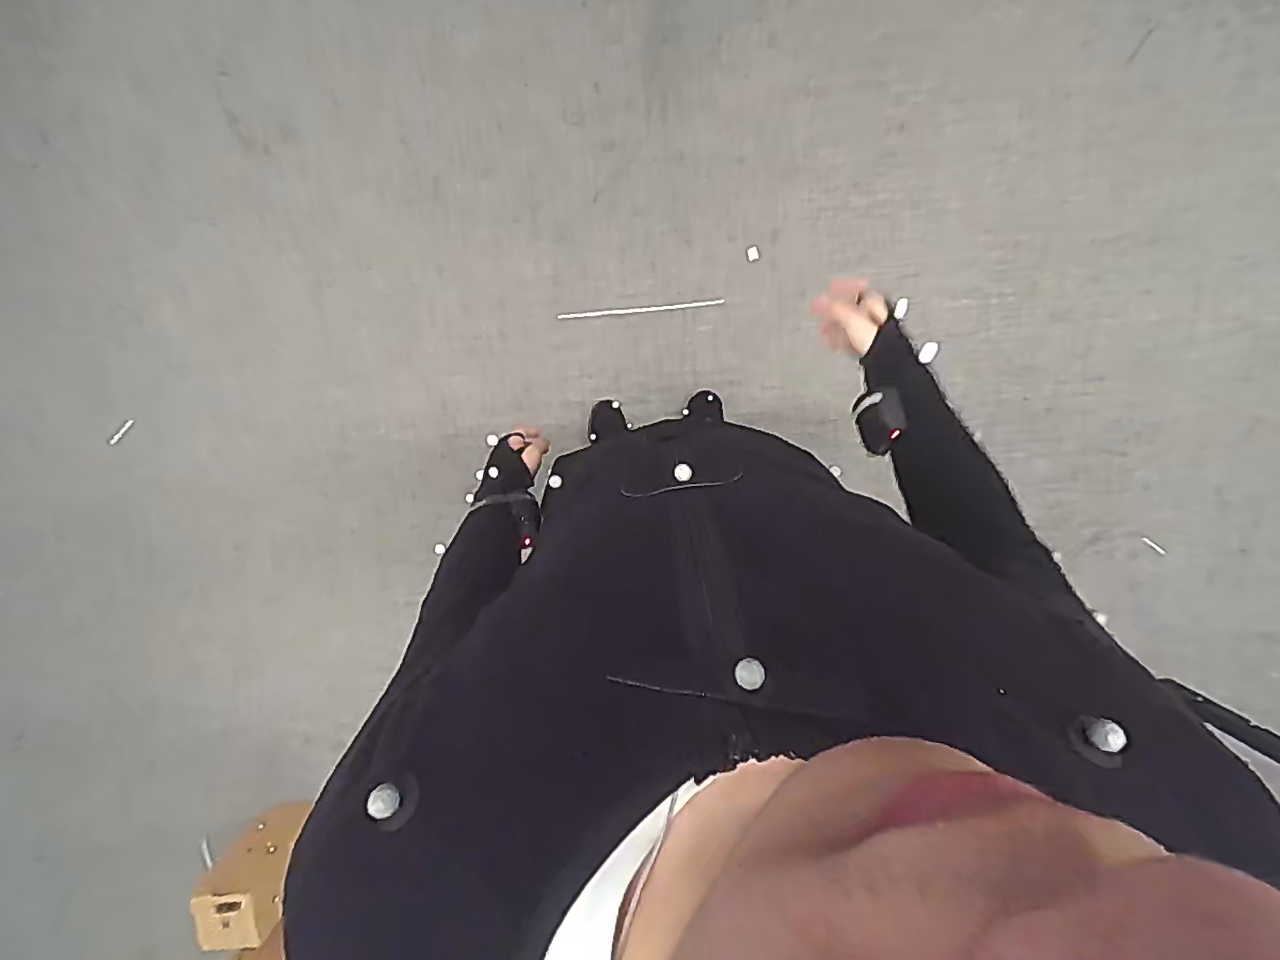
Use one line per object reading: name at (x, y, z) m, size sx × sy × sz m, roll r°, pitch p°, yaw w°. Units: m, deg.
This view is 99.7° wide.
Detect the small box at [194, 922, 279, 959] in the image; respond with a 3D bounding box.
small box at (-1.177, 1.420, 1.557) m, size 0.179 × 0.176 × 0.168 m, roll -4°, pitch 100°, yaw -1°

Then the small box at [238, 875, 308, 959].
small box at (-1.184, 1.395, 1.716) m, size 0.179 × 0.176 × 0.168 m, roll -1°, pitch 99°, yaw -2°

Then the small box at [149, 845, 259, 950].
small box at (-1.206, 1.155, 1.509) m, size 0.168 × 0.176 × 0.179 m, roll 0°, pitch 100°, yaw -1°
